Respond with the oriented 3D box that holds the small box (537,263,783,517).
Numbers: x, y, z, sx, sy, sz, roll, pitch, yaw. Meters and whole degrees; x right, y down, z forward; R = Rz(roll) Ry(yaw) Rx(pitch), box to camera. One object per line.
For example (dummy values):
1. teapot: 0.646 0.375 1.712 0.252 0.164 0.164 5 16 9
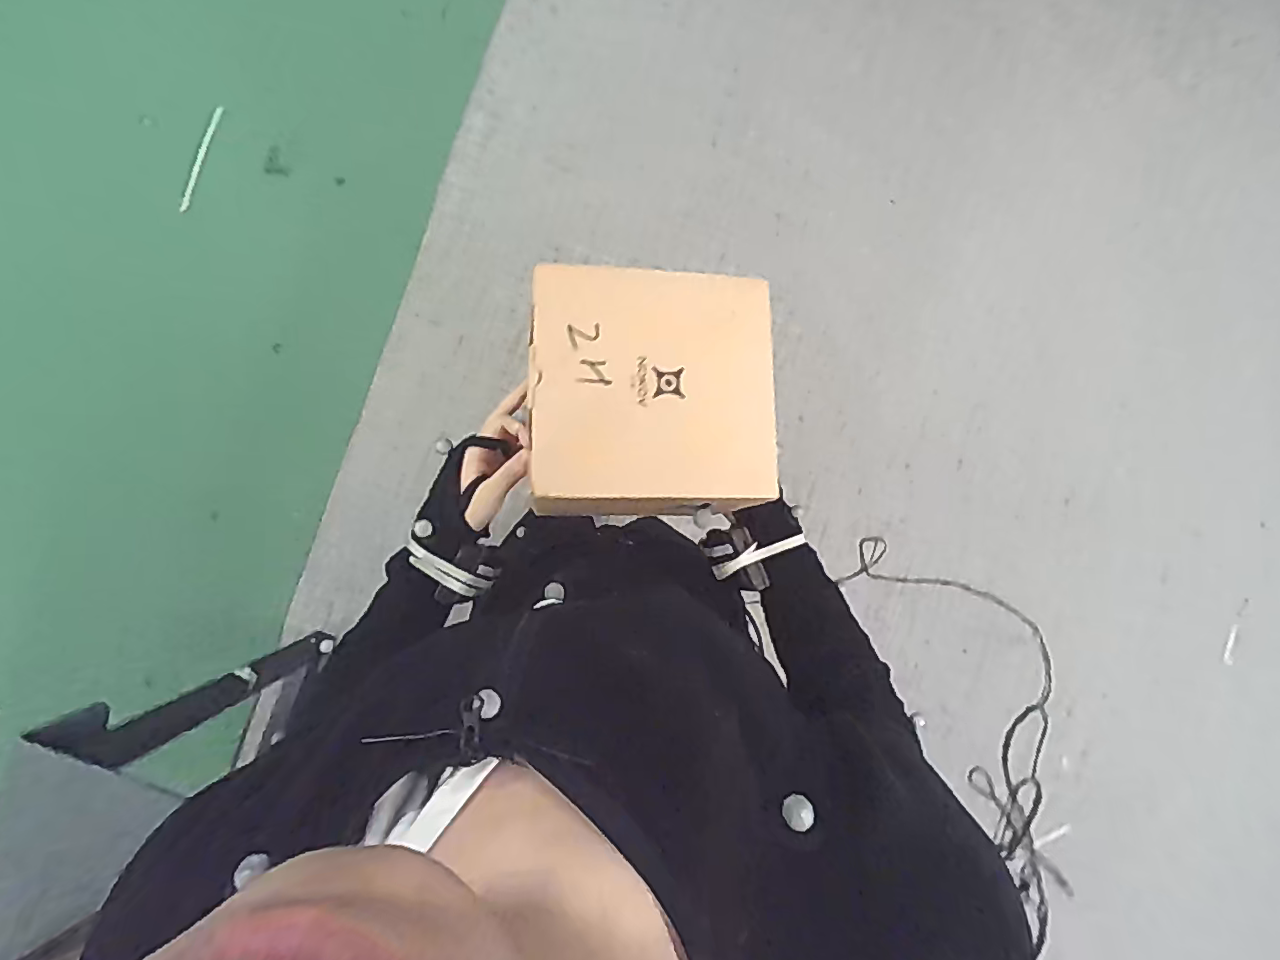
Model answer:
1. small box: 0.005 -0.058 0.464 0.179 0.176 0.168 2 81 -11
